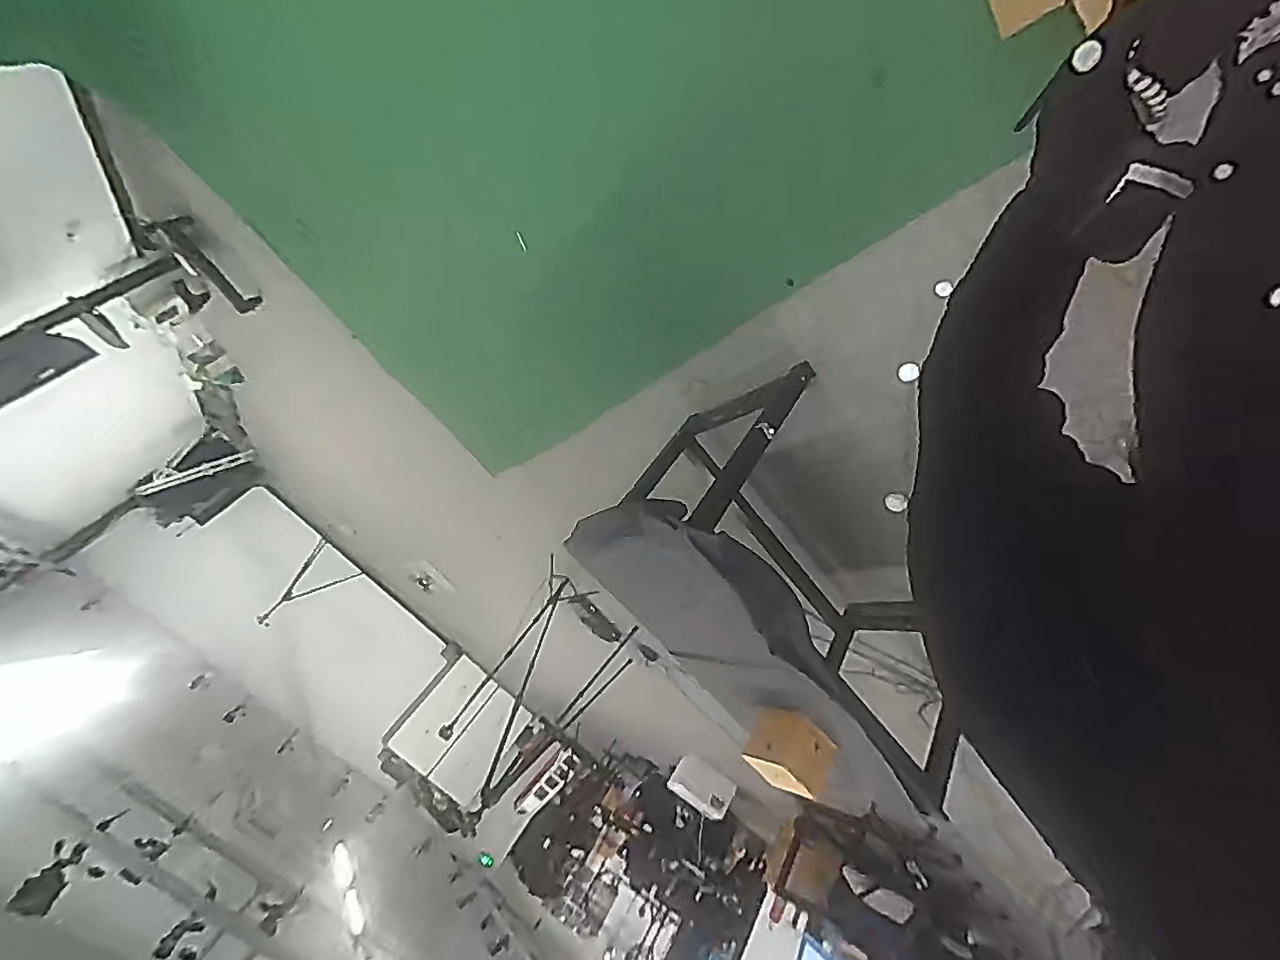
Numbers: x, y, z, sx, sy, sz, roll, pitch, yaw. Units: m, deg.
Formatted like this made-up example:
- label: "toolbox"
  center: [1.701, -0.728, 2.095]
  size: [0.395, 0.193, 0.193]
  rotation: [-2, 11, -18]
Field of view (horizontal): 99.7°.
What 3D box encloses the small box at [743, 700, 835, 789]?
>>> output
- label: "small box"
  center: [0.454, 0.791, 1.636]
  size: [0.168, 0.176, 0.179]
  rotation: [47, 147, -13]
